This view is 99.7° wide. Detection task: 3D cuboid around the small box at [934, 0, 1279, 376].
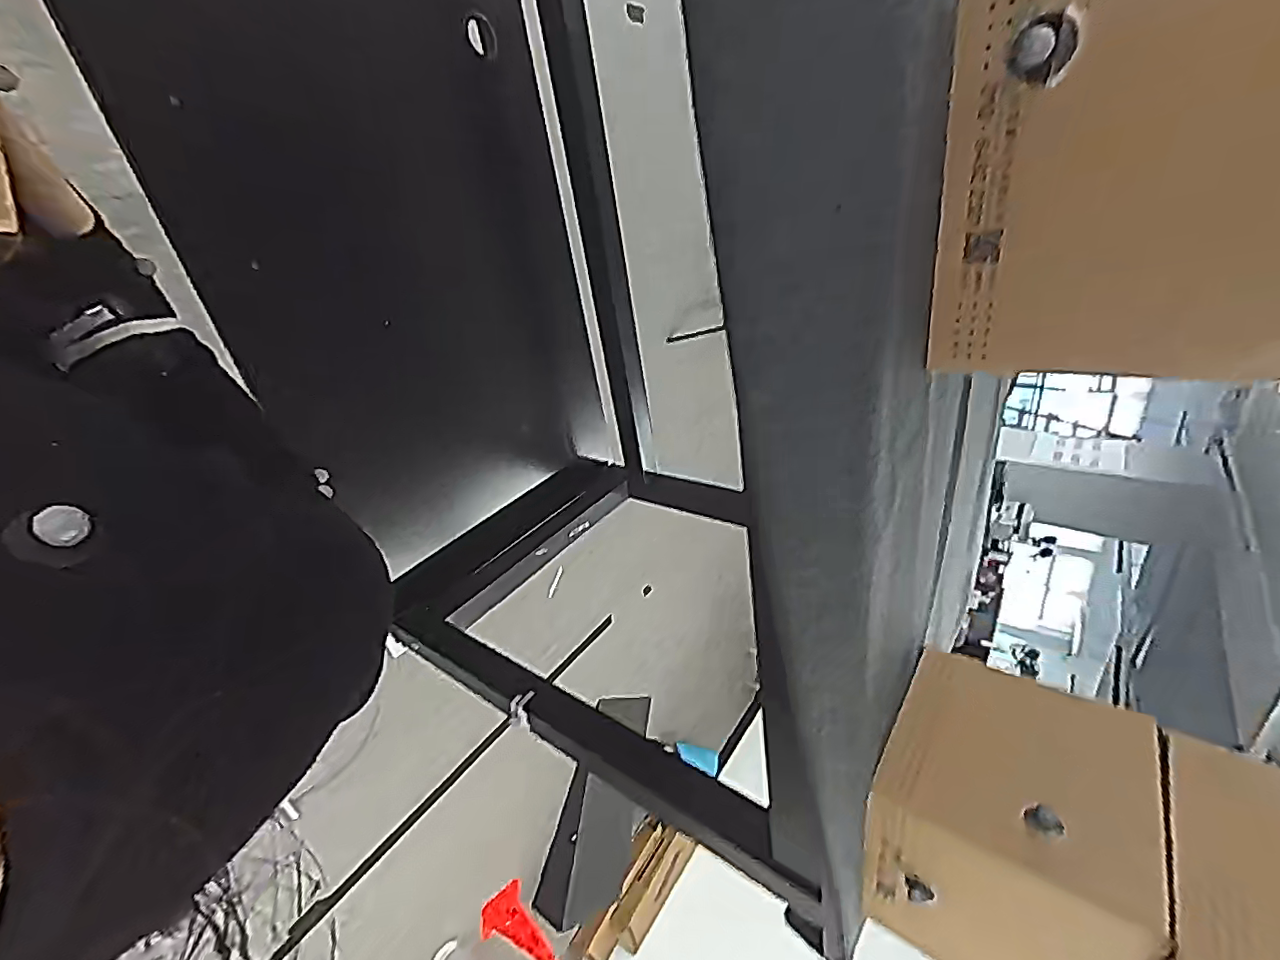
[{"bbox_3d":[0.255,-0.154,0.262,0.179,0.176,0.168,-40,131,-42],"label":"small box"}]
